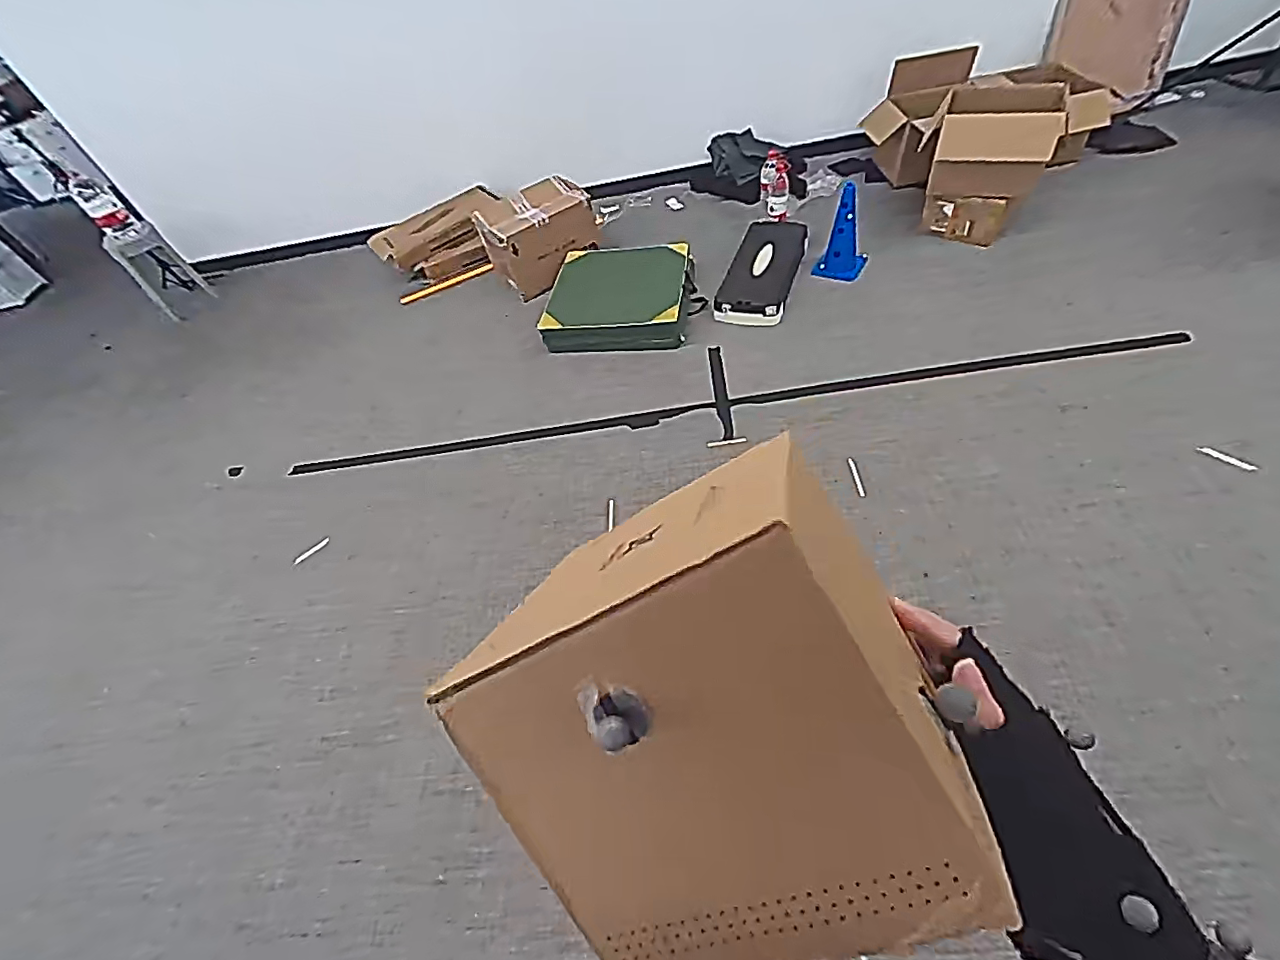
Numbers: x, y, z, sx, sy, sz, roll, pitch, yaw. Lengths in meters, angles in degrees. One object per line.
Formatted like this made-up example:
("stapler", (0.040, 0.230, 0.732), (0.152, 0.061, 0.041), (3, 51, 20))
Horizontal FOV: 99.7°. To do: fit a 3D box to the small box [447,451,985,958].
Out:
("small box", (0.042, 0.112, 0.299), (0.179, 0.176, 0.168), (-32, 4, 22))
